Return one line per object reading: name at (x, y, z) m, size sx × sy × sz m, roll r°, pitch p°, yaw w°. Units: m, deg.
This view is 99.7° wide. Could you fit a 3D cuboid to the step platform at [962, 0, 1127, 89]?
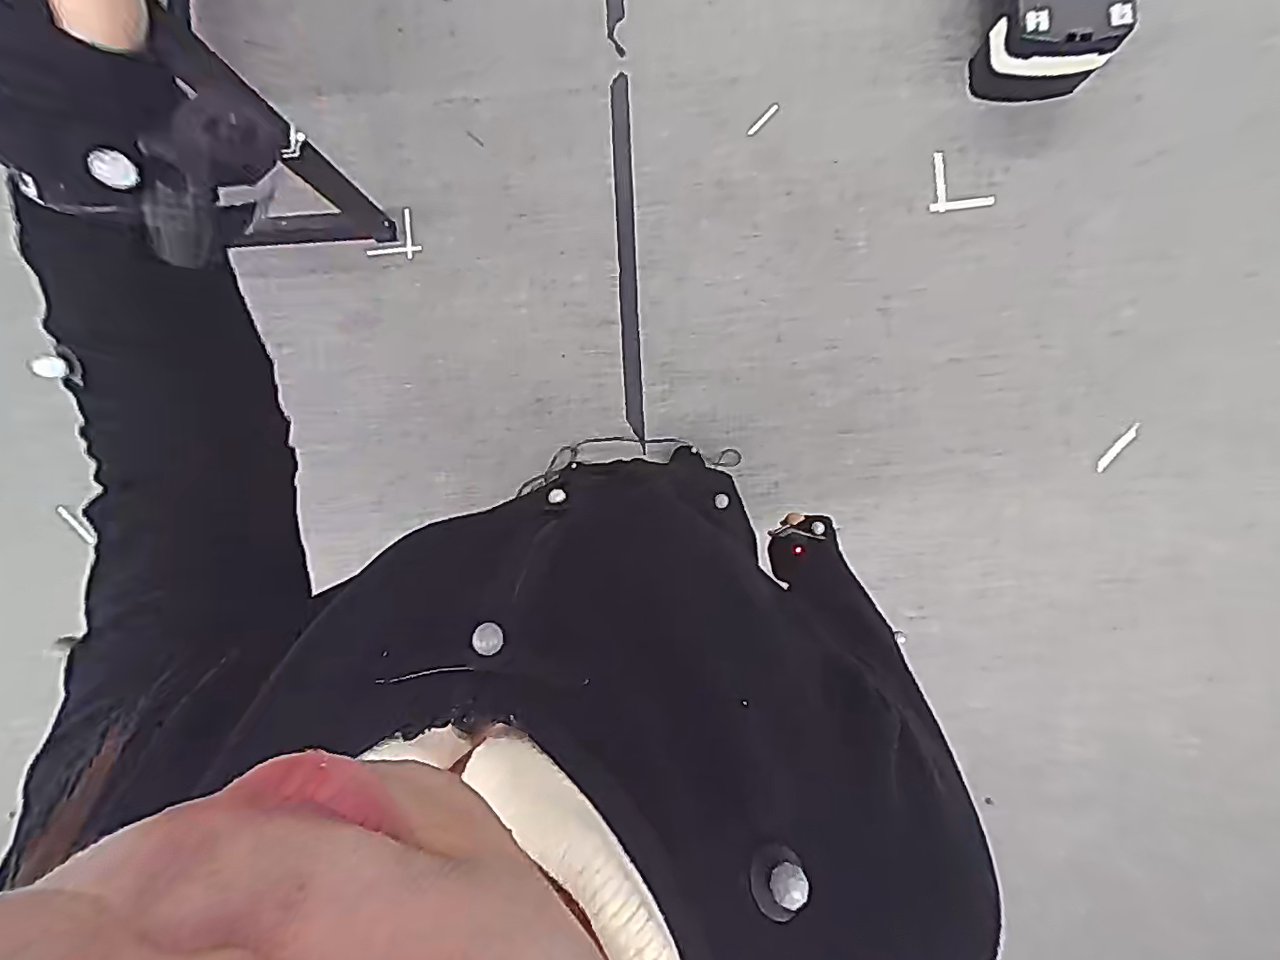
step platform at (1.013, -1.382, 1.342) m, size 0.286 × 0.204 × 0.684 m, roll 3°, pitch 91°, yaw 1°
